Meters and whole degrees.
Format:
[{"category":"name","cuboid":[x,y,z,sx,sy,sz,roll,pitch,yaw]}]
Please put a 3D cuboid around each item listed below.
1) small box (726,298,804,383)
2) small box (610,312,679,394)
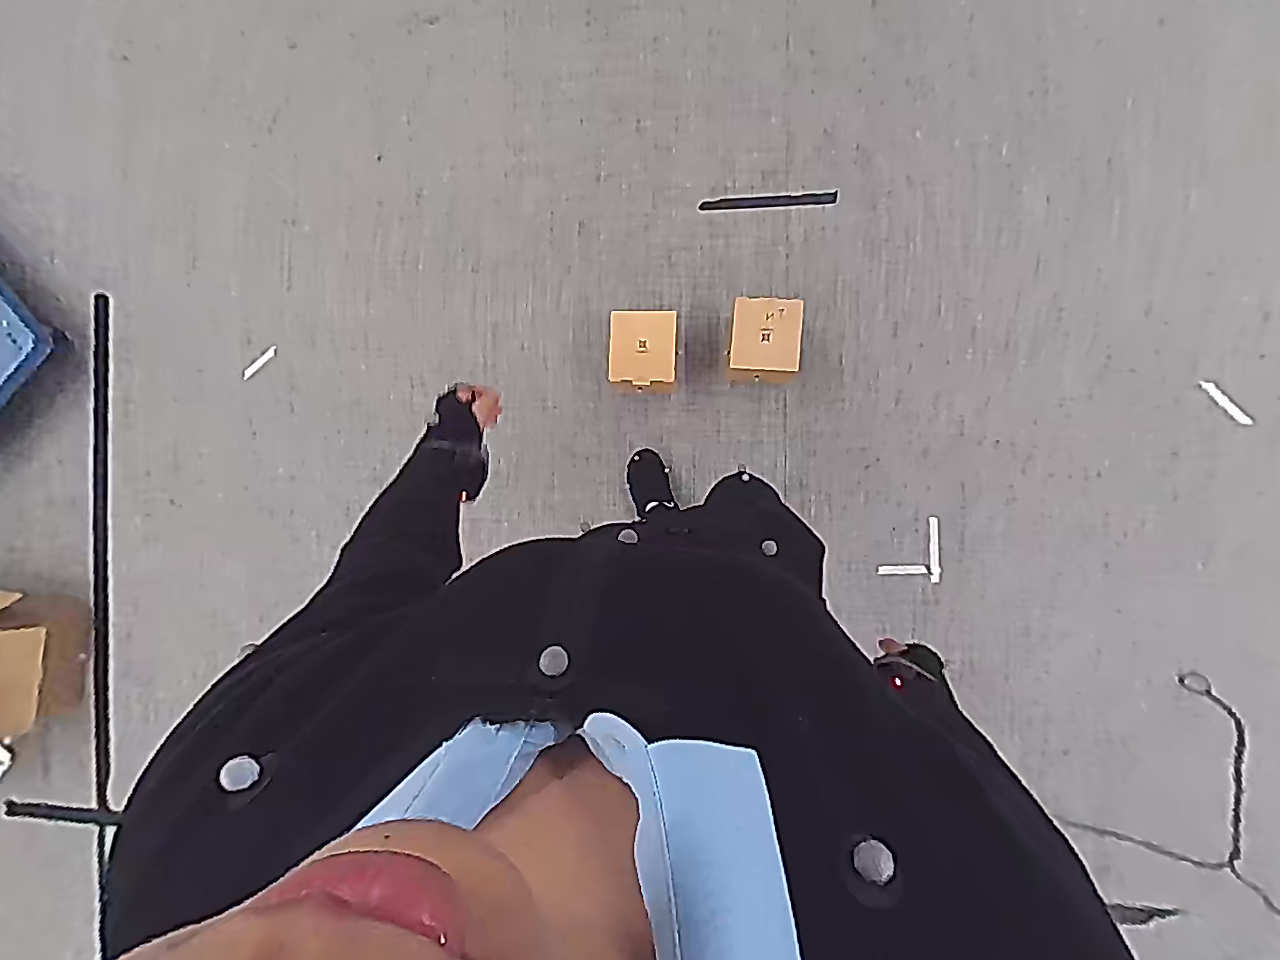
[{"category":"small box","cuboid":[0.311,-0.348,1.377,0.168,0.176,0.179,4,91,5]},{"category":"small box","cuboid":[0.015,-0.325,1.408,0.168,0.176,0.179,1,91,6]}]
